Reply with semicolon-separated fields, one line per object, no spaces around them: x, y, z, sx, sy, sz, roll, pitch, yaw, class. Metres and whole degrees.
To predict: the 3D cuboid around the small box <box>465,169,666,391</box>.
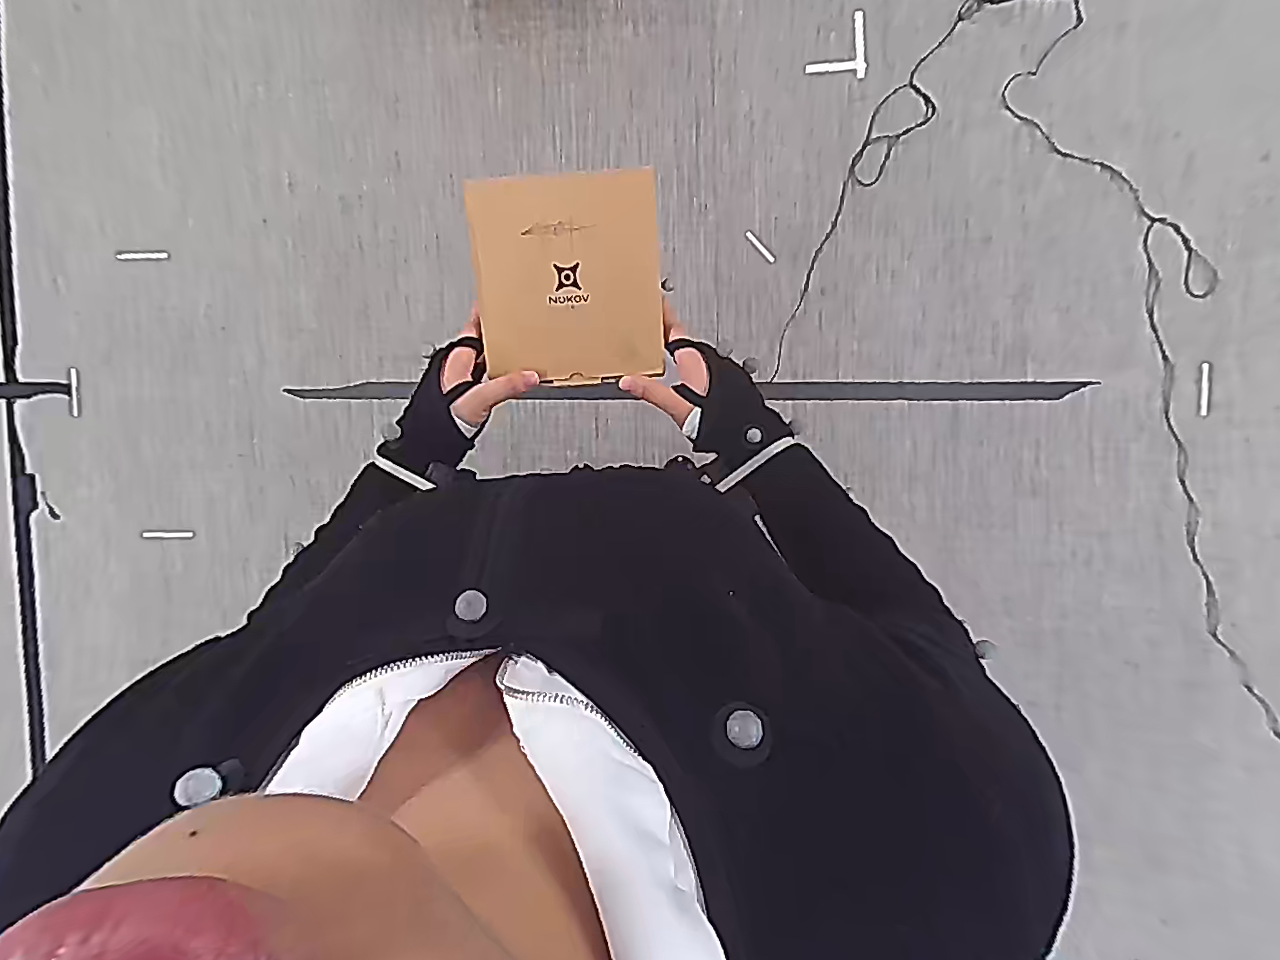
-0.060;-0.189;0.547;0.168;0.176;0.179;-4;104;1;small box
